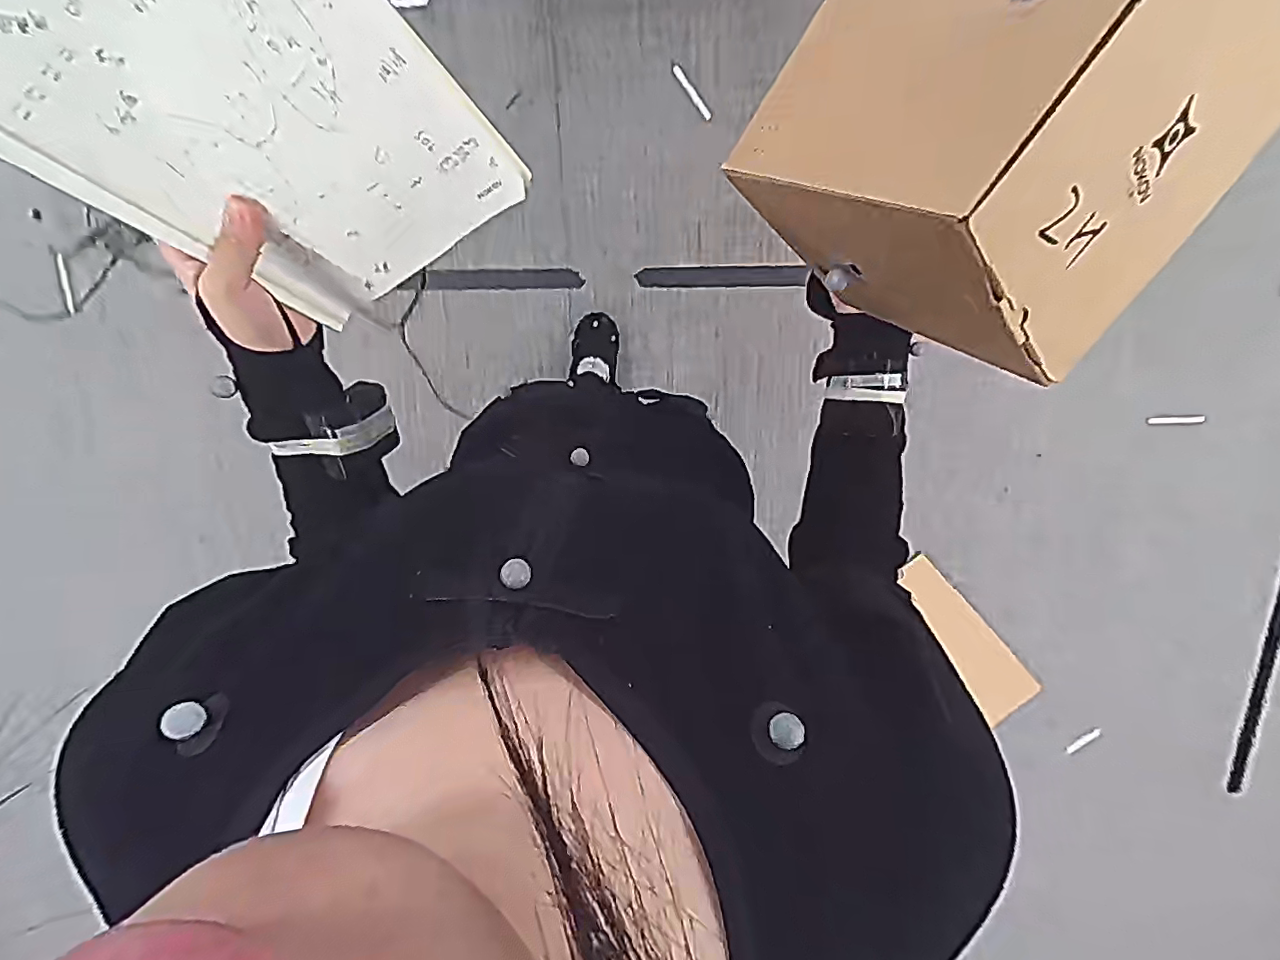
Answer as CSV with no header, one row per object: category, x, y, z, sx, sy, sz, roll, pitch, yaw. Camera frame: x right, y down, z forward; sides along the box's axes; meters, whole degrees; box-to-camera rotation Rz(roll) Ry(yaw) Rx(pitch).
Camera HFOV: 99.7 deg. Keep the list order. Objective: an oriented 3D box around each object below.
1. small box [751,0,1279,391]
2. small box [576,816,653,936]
small box,0.196,-0.185,0.294,0.168,0.176,0.179,23,108,-41
small box,-0.059,0.945,1.307,0.168,0.176,0.179,-5,103,1
